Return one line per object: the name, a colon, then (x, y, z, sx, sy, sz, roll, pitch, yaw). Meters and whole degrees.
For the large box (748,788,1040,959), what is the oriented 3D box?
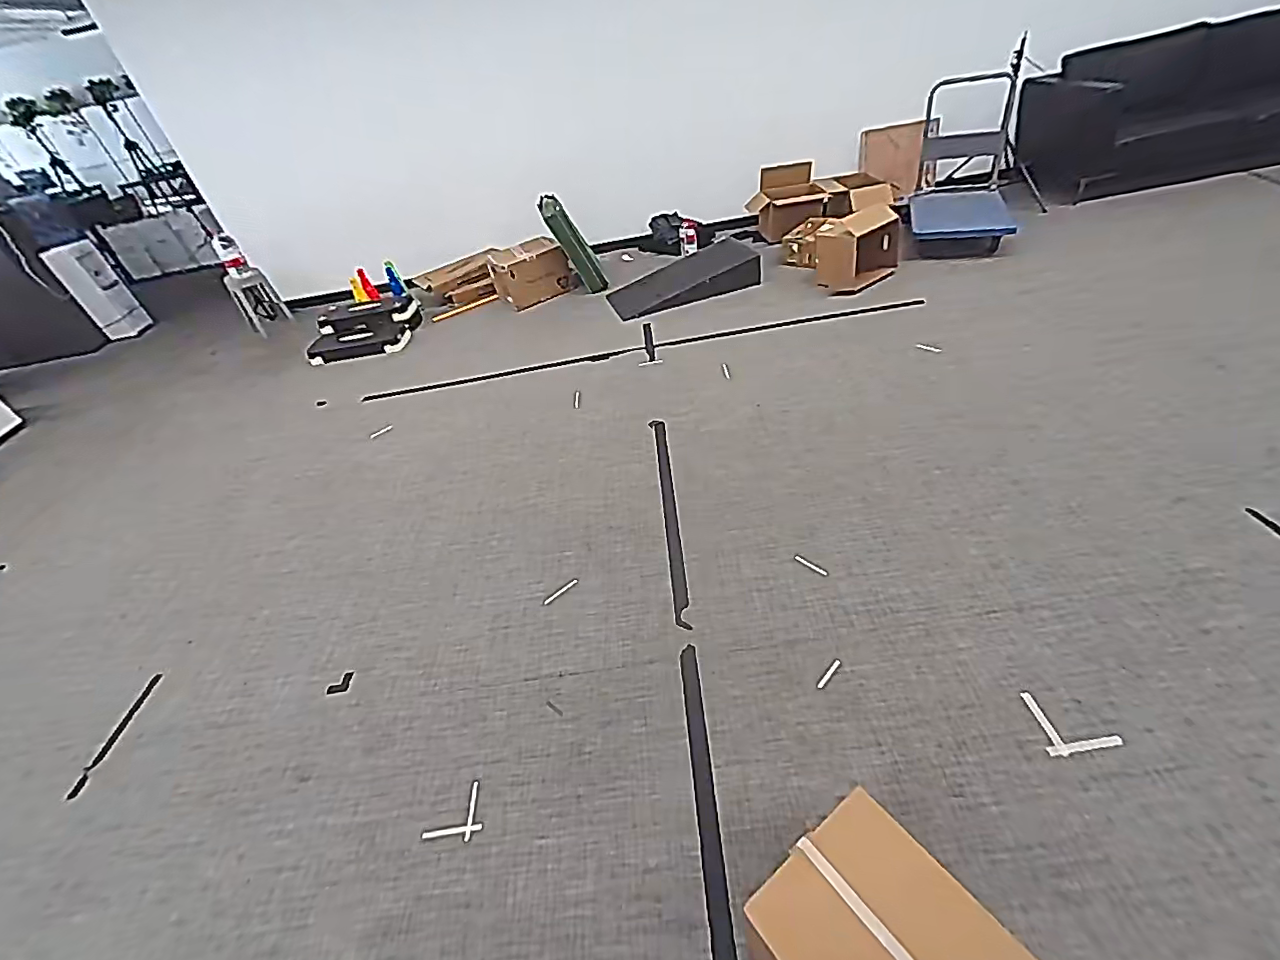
large box: (0.437, 0.861, 0.948, 0.320, 0.320, 0.408, -31, 44, -21)
